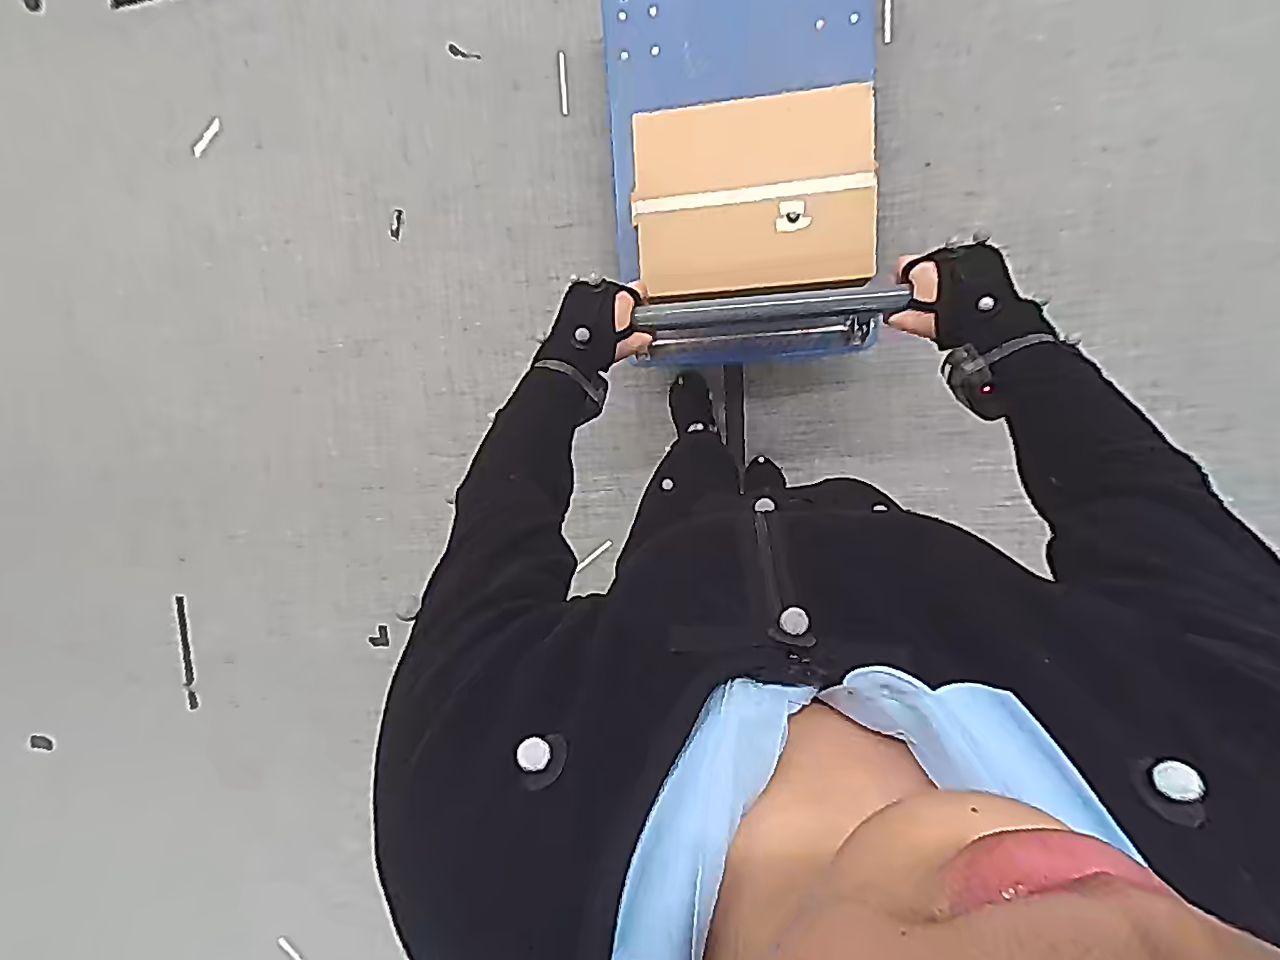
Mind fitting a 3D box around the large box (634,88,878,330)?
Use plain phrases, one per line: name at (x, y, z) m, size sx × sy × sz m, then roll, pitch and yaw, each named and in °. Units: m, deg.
large box at (0.213, -0.492, 1.067) m, size 0.408 × 0.320 × 0.320 m, roll -2°, pitch 97°, yaw 8°
